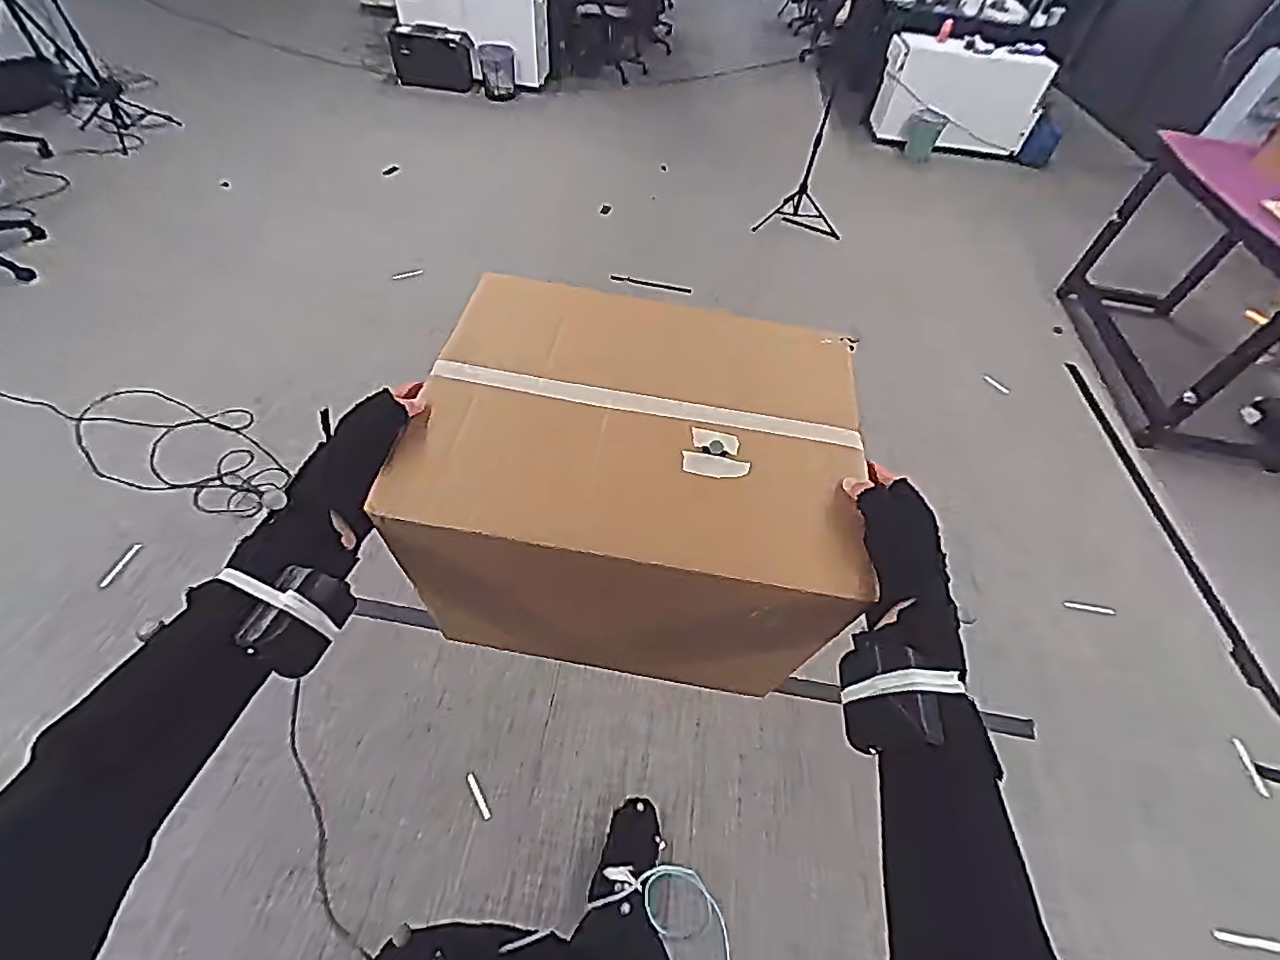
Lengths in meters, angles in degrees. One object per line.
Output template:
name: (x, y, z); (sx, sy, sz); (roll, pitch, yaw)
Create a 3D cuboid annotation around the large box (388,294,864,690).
large box: (-0.009, 0.028, 0.645); (0.408, 0.320, 0.320); (10, 56, 0)
